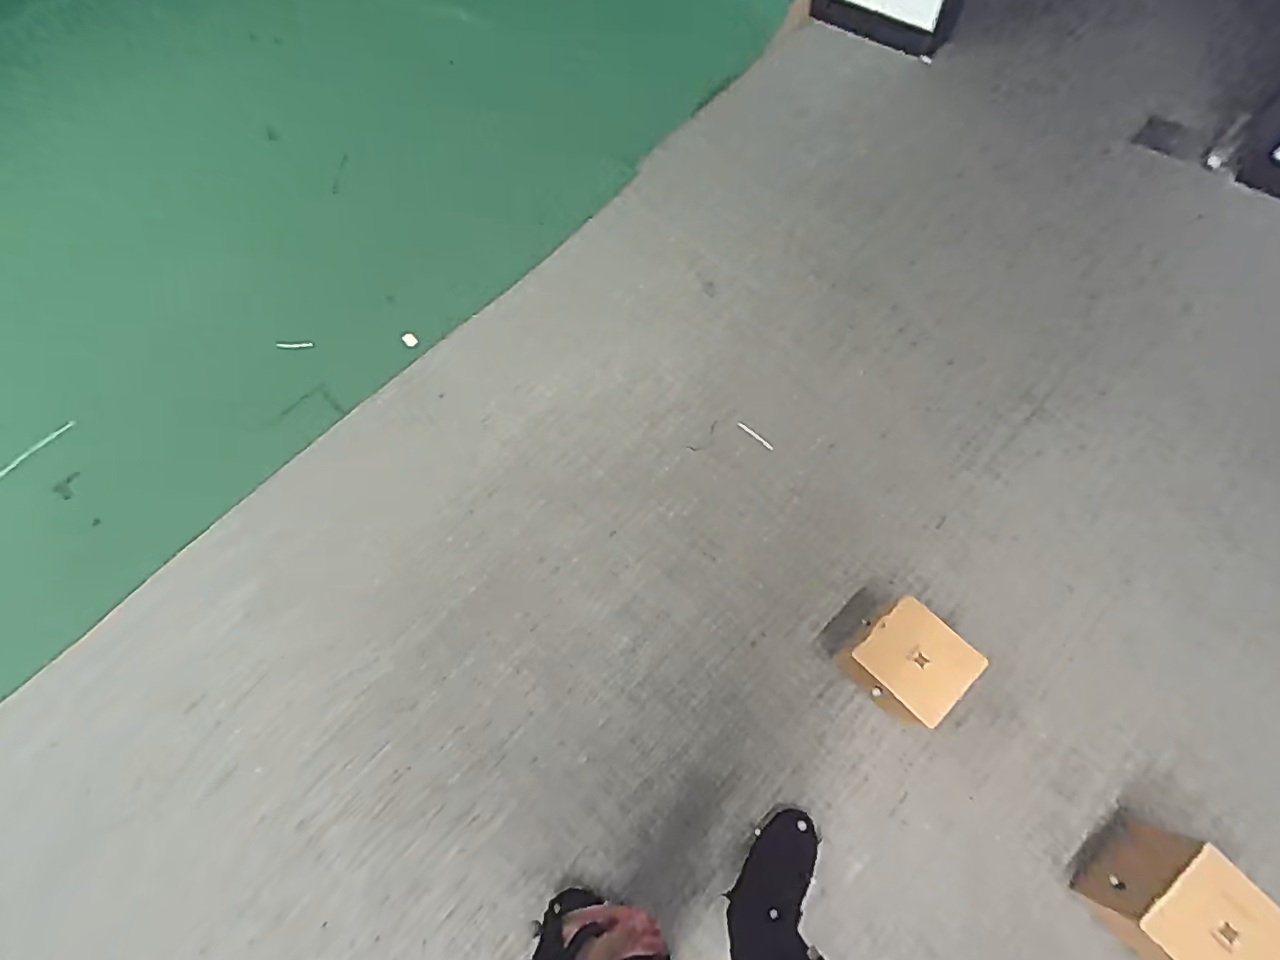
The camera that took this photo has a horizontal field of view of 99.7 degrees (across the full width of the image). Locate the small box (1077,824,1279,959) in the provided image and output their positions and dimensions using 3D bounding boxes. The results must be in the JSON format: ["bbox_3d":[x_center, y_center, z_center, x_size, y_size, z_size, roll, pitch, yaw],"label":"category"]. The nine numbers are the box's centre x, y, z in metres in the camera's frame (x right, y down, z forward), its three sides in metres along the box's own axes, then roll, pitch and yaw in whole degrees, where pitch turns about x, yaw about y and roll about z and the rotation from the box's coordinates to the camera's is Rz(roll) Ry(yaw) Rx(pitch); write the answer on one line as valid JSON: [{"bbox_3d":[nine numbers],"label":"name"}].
[{"bbox_3d":[0.856,0.694,0.860,0.179,0.176,0.168,-38,70,-9],"label":"small box"}]

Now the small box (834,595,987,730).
[{"bbox_3d":[0.508,0.350,1.043,0.168,0.176,0.179,-42,69,-10],"label":"small box"}]
